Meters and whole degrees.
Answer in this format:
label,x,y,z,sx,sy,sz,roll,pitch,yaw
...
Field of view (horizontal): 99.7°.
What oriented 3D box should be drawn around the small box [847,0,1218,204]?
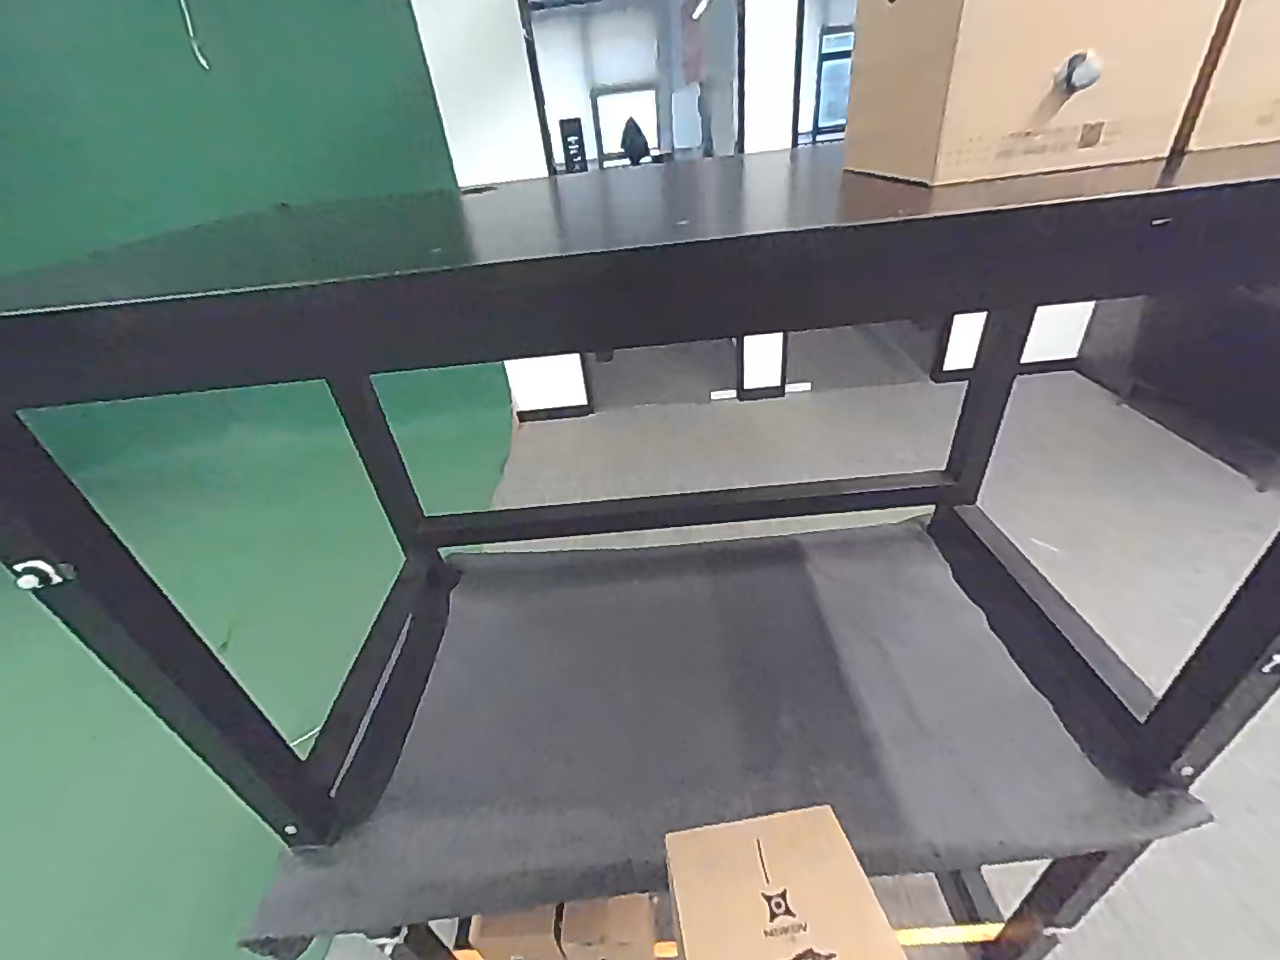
label,x,y,z,sx,sy,sz,roll,pitch,yaw
small box,0.272,-0.316,0.411,0.168,0.176,0.179,-7,33,1
